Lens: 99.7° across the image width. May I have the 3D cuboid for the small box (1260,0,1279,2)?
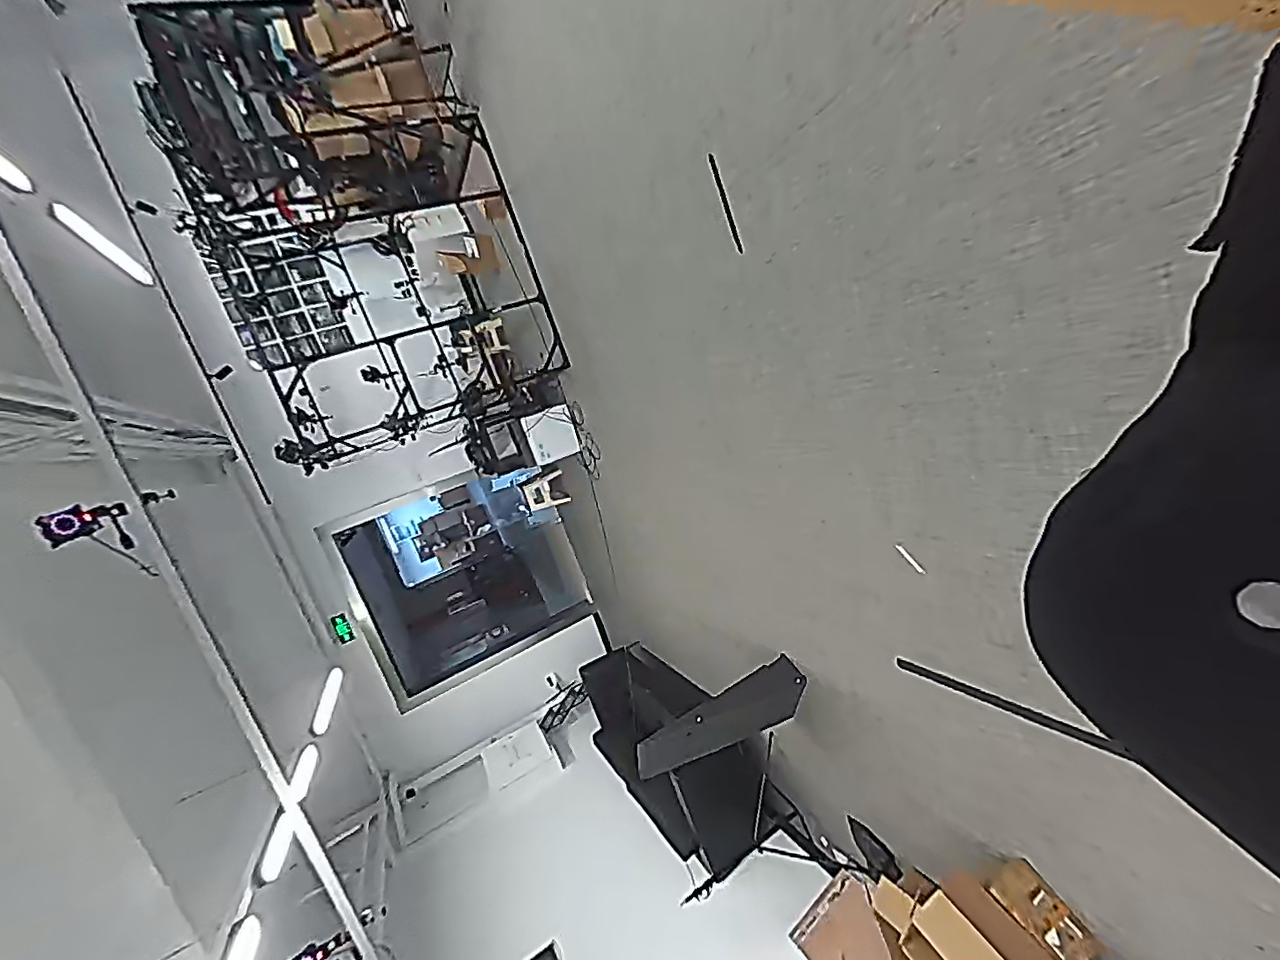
[{"bbox_3d":[0.208,-0.277,0.145,0.179,0.176,0.168,-59,-22,-79],"label":"small box"}]
